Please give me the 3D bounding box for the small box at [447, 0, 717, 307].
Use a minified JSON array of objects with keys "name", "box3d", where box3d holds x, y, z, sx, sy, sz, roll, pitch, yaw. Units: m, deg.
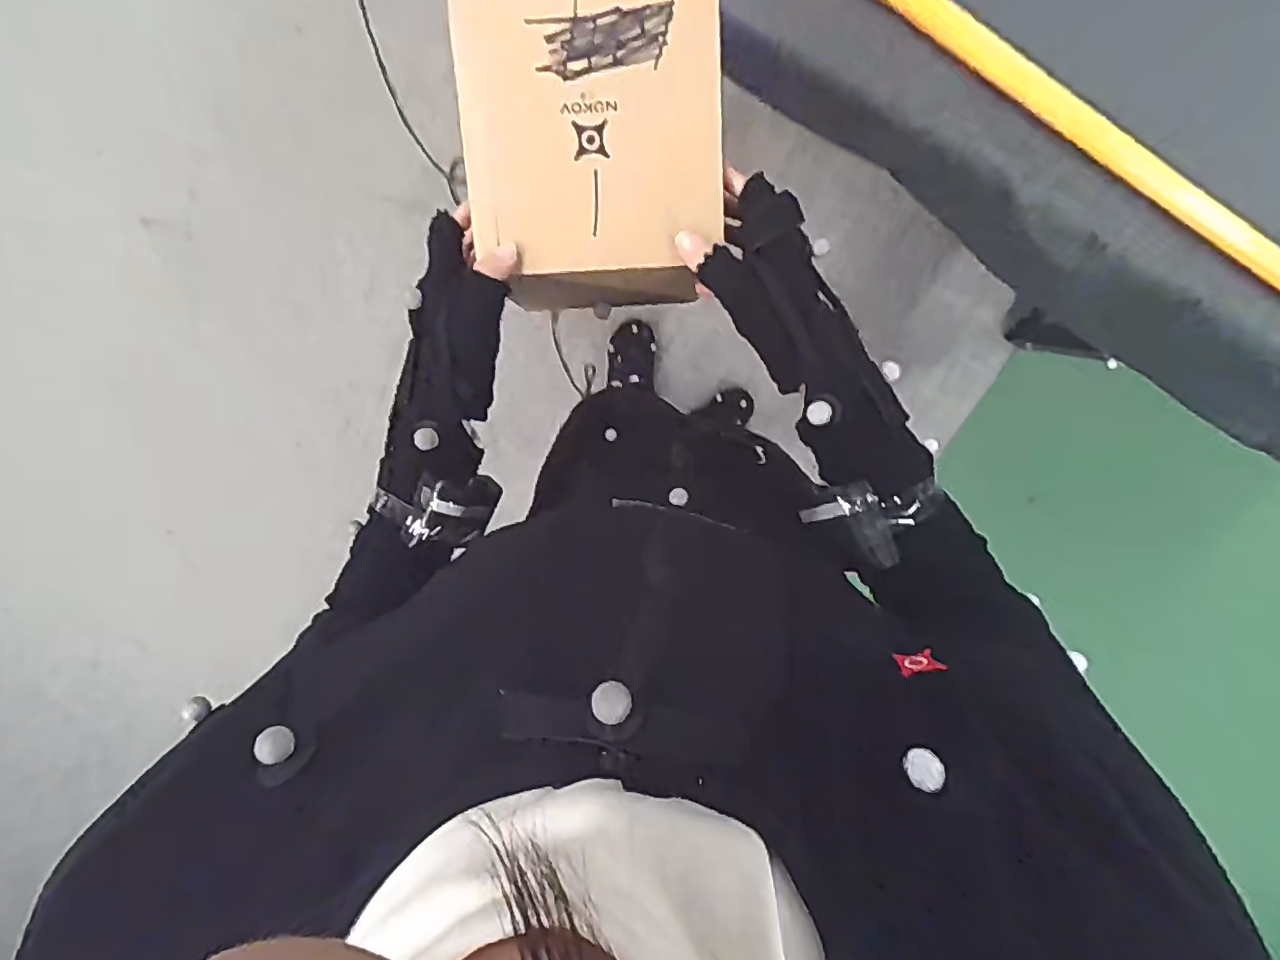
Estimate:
[{"name":"small box","box3d":[-0.035,-0.241,0.423,0.168,0.176,0.179,-4,101,0]}]
